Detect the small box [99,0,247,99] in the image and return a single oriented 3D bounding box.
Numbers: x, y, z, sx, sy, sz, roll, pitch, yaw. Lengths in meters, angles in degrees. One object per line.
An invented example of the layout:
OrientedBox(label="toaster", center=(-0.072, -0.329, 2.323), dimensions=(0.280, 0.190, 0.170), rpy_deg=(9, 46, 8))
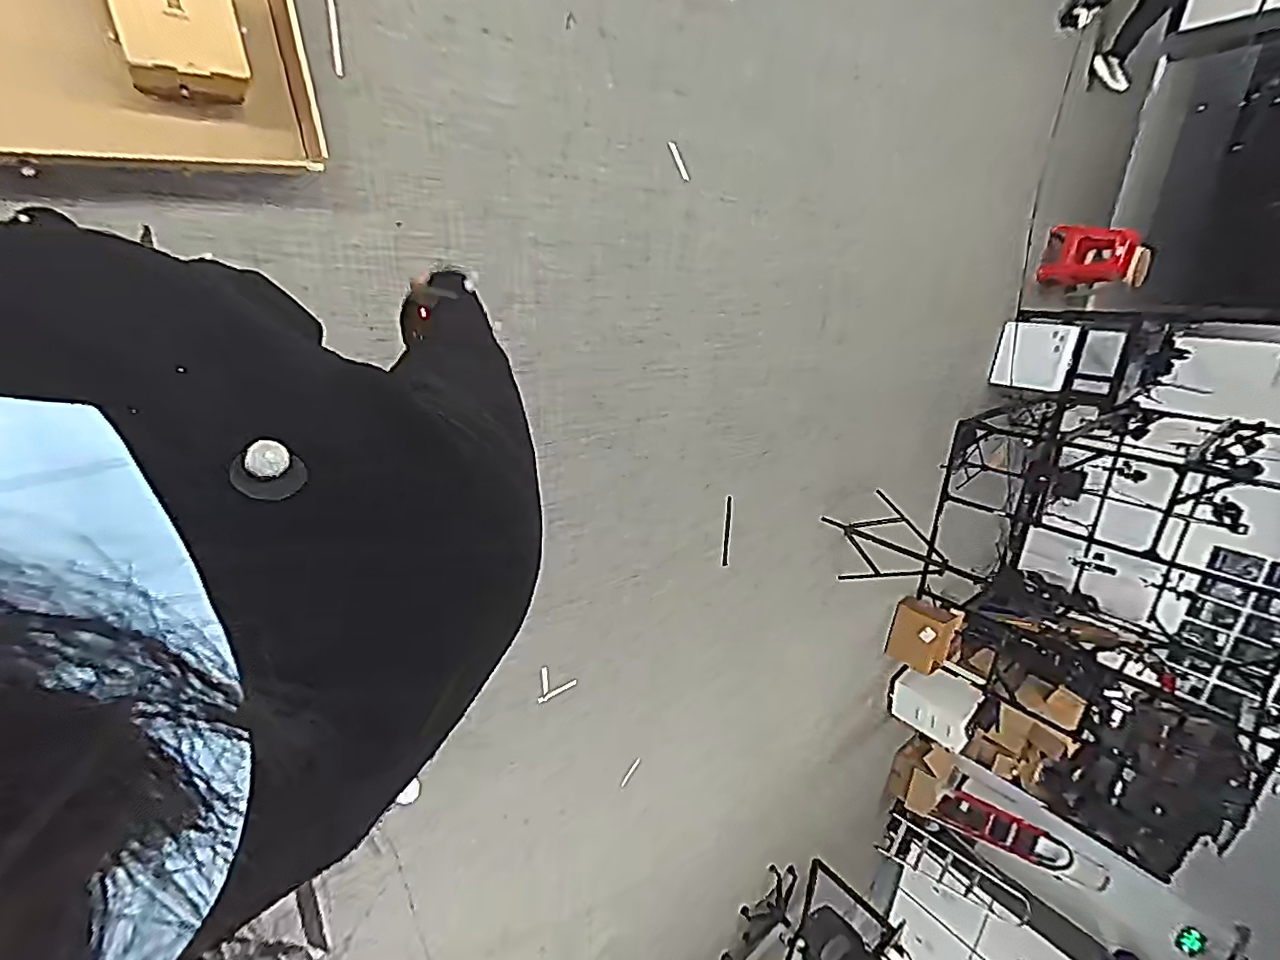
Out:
OrientedBox(label="small box", center=(-0.794, -0.775, 0.911), dimensions=(0.168, 0.176, 0.179), rpy_deg=(-19, 118, -35))
